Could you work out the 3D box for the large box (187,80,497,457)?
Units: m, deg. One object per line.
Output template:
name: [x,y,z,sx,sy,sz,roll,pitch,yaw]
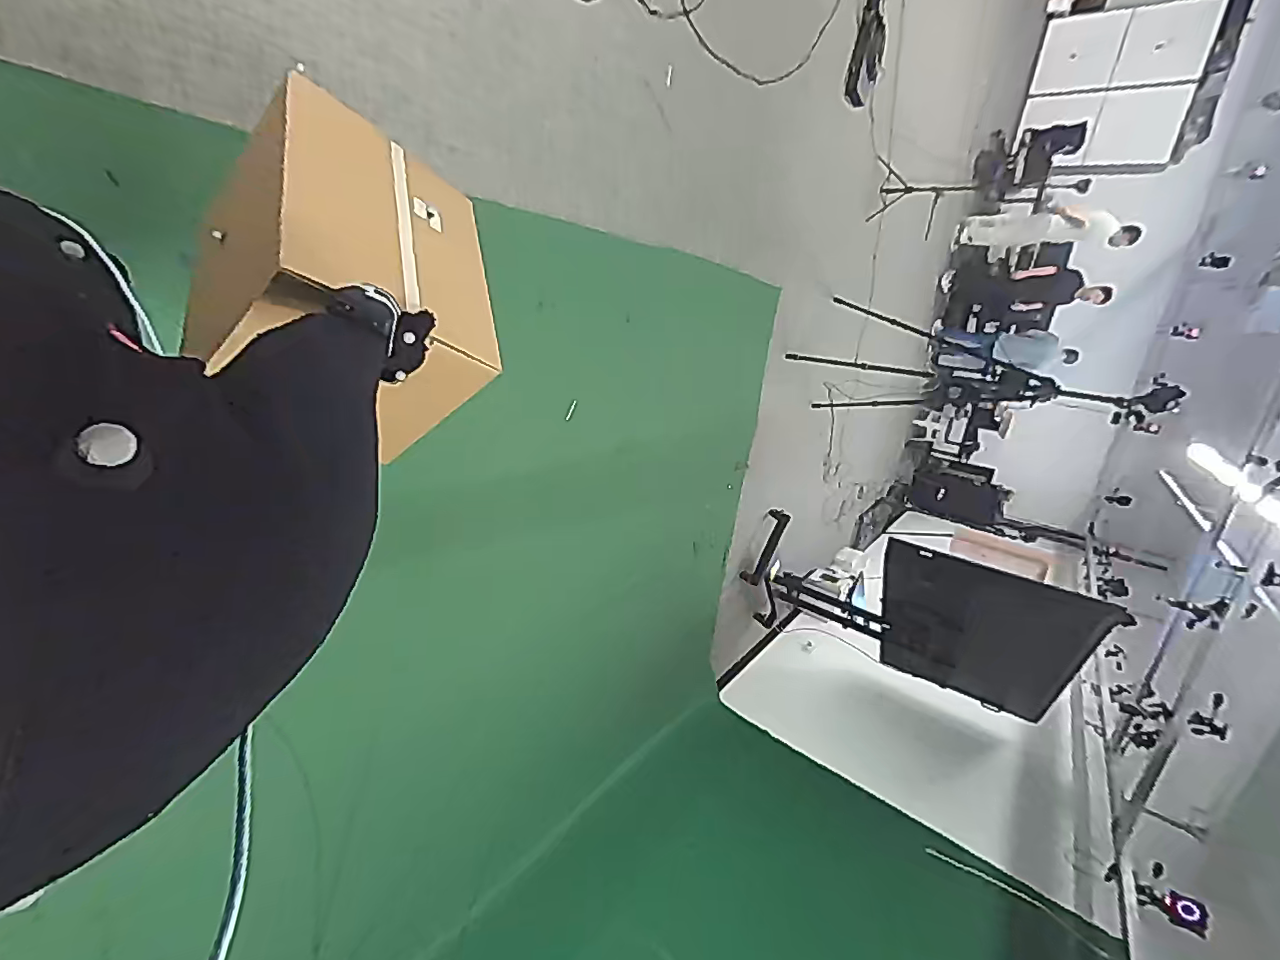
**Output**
large box: [-0.477,-0.301,0.874,0.320,0.320,0.408,21,46,-52]
